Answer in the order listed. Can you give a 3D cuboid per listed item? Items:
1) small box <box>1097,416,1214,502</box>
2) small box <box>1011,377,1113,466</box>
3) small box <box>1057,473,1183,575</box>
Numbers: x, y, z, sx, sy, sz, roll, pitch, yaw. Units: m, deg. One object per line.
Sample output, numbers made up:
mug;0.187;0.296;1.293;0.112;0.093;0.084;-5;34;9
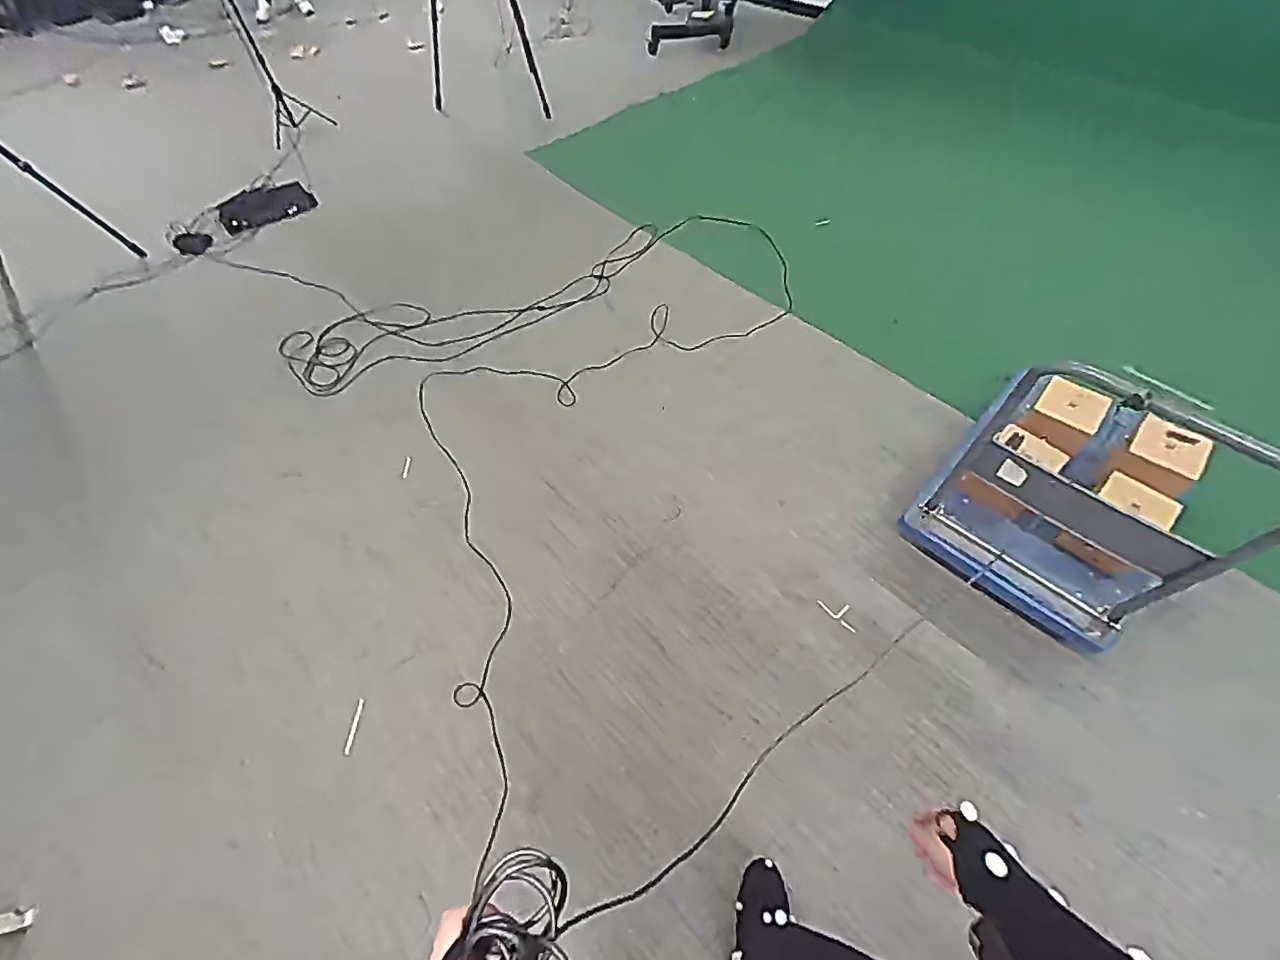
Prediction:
small box;1.470;-0.043;1.553;0.168;0.176;0.179;34;65;24
small box;1.279;-0.174;1.654;0.168;0.176;0.179;35;65;23
small box;1.279;0.120;1.455;0.179;0.176;0.168;-40;63;-20
